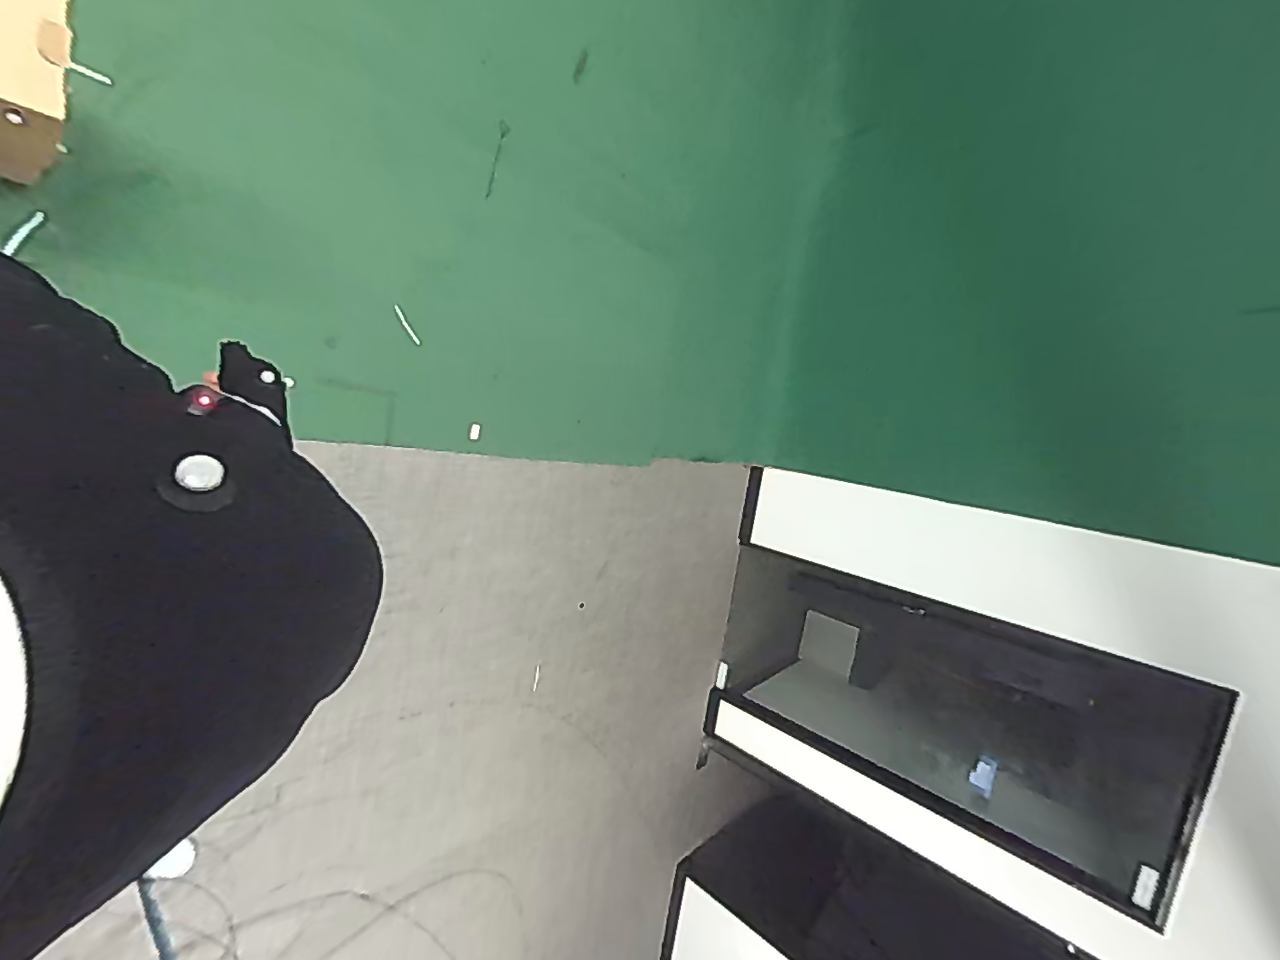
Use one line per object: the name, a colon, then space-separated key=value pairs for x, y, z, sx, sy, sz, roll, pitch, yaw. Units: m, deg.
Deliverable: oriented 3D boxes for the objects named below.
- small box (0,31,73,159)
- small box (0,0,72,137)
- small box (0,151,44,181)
small box: x=-0.912 y=-0.564 z=0.732 sx=0.179 sy=0.176 sz=0.168 roll=6 pitch=95 yaw=-51
small box: x=-0.794 y=-0.533 z=0.627 sx=0.179 sy=0.176 sz=0.168 roll=1 pitch=101 yaw=-51
small box: x=-1.041 y=-0.594 z=0.833 sx=0.168 sy=0.176 sz=0.179 roll=2 pitch=100 yaw=-50
